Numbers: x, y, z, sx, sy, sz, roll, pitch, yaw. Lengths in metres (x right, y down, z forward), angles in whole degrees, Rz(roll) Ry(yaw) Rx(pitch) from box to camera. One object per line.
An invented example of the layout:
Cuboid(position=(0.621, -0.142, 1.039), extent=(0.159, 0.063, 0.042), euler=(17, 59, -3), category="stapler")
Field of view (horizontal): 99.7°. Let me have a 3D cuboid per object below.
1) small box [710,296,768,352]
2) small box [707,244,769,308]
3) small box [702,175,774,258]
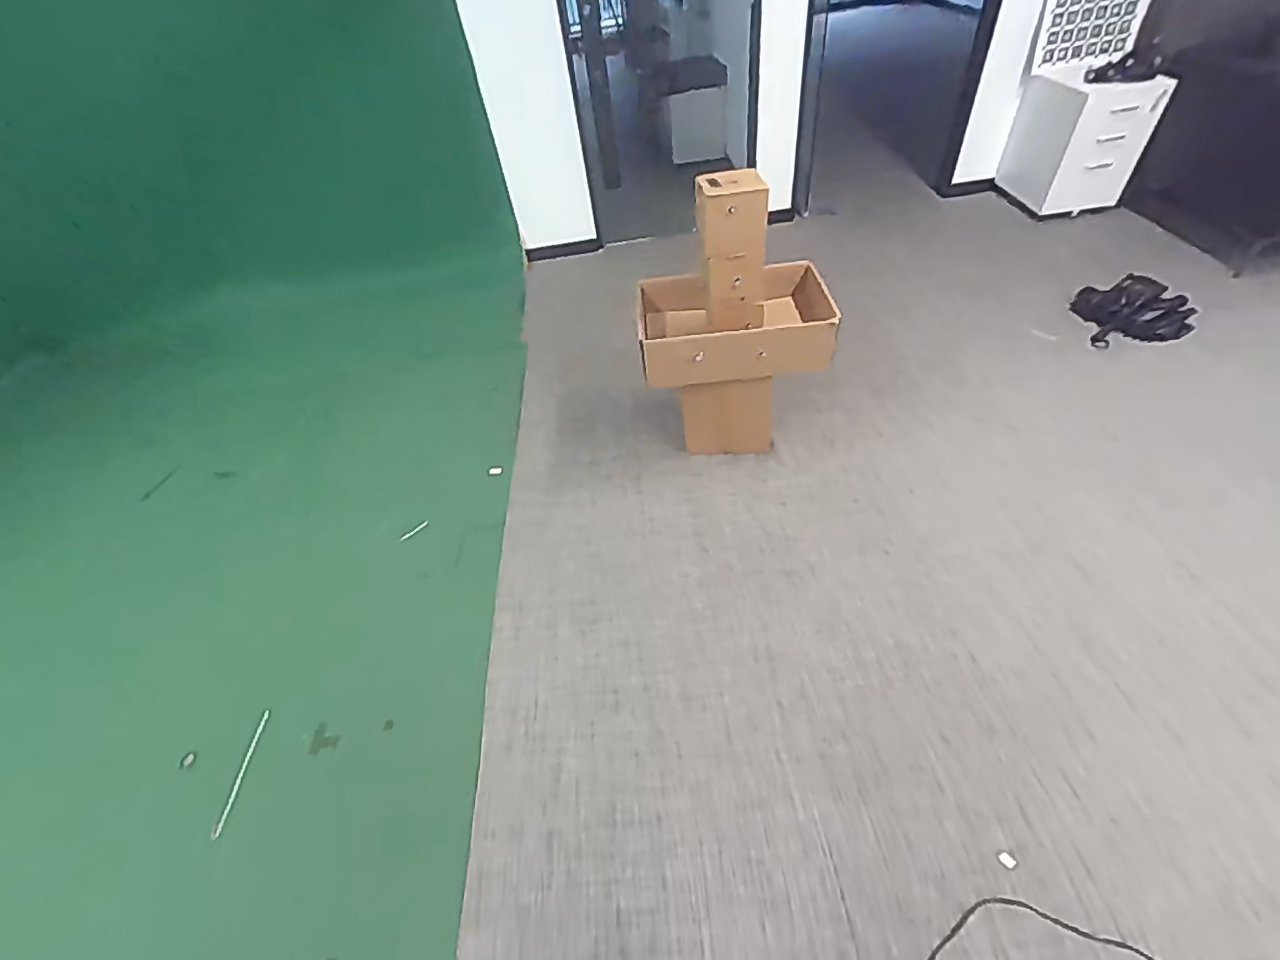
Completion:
Cuboid(position=(0.328, -0.540, 1.809), extent=(0.168, 0.176, 0.179), euler=(-7, 45, 1), category="small box")
Cuboid(position=(0.304, -0.653, 1.693), extent=(0.168, 0.176, 0.179), euler=(-6, 47, 2), category="small box")
Cuboid(position=(0.279, -0.762, 1.571), extent=(0.179, 0.176, 0.168), euler=(-7, 47, 0), category="small box")
